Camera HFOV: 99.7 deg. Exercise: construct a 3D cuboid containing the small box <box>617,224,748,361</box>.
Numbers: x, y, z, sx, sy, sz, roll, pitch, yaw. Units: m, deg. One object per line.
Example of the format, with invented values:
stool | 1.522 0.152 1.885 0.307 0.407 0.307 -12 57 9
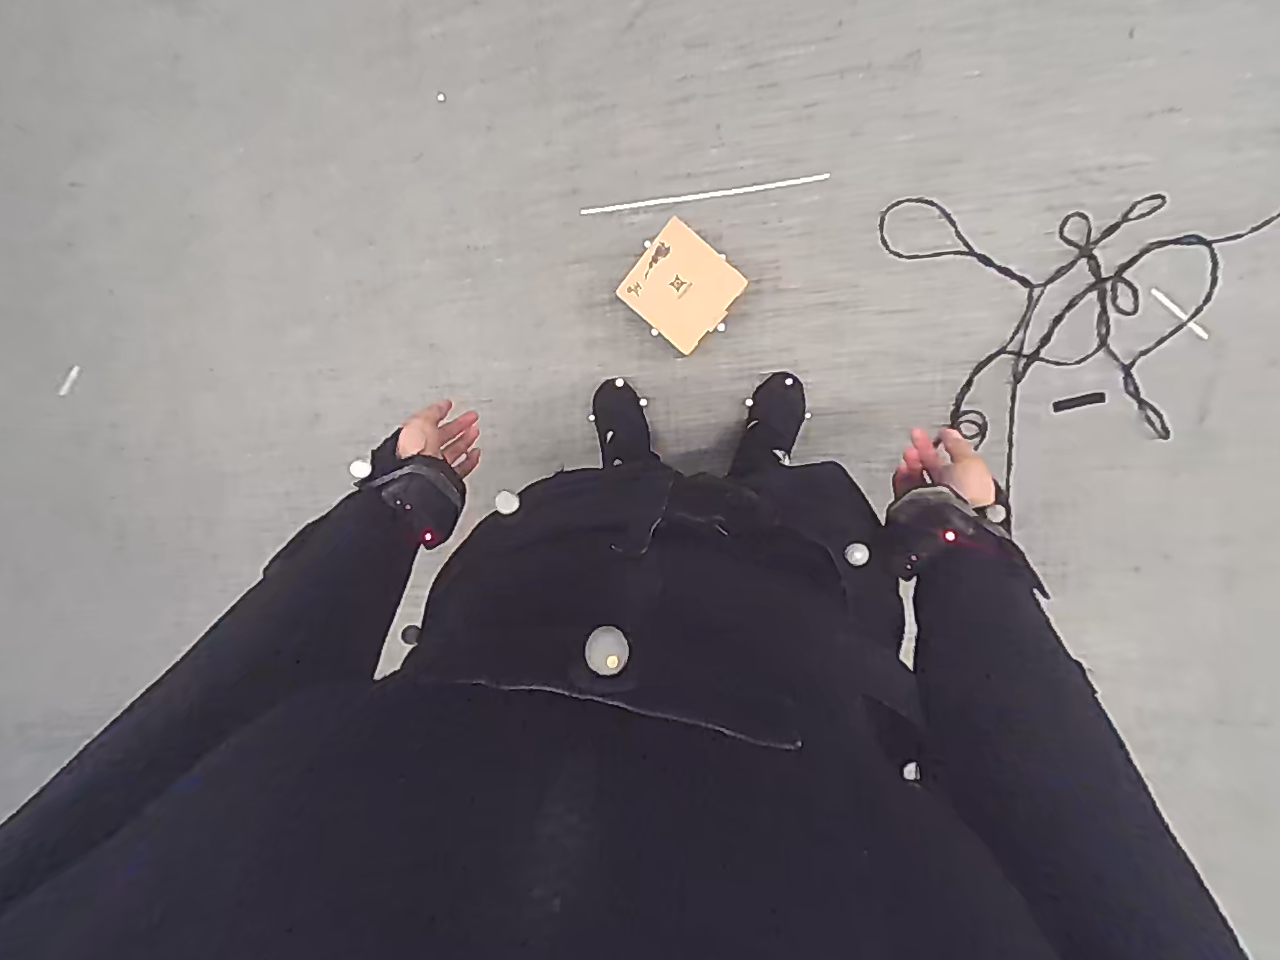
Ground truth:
small box | 0.084 -0.349 1.032 0.179 0.176 0.168 41 105 -3
